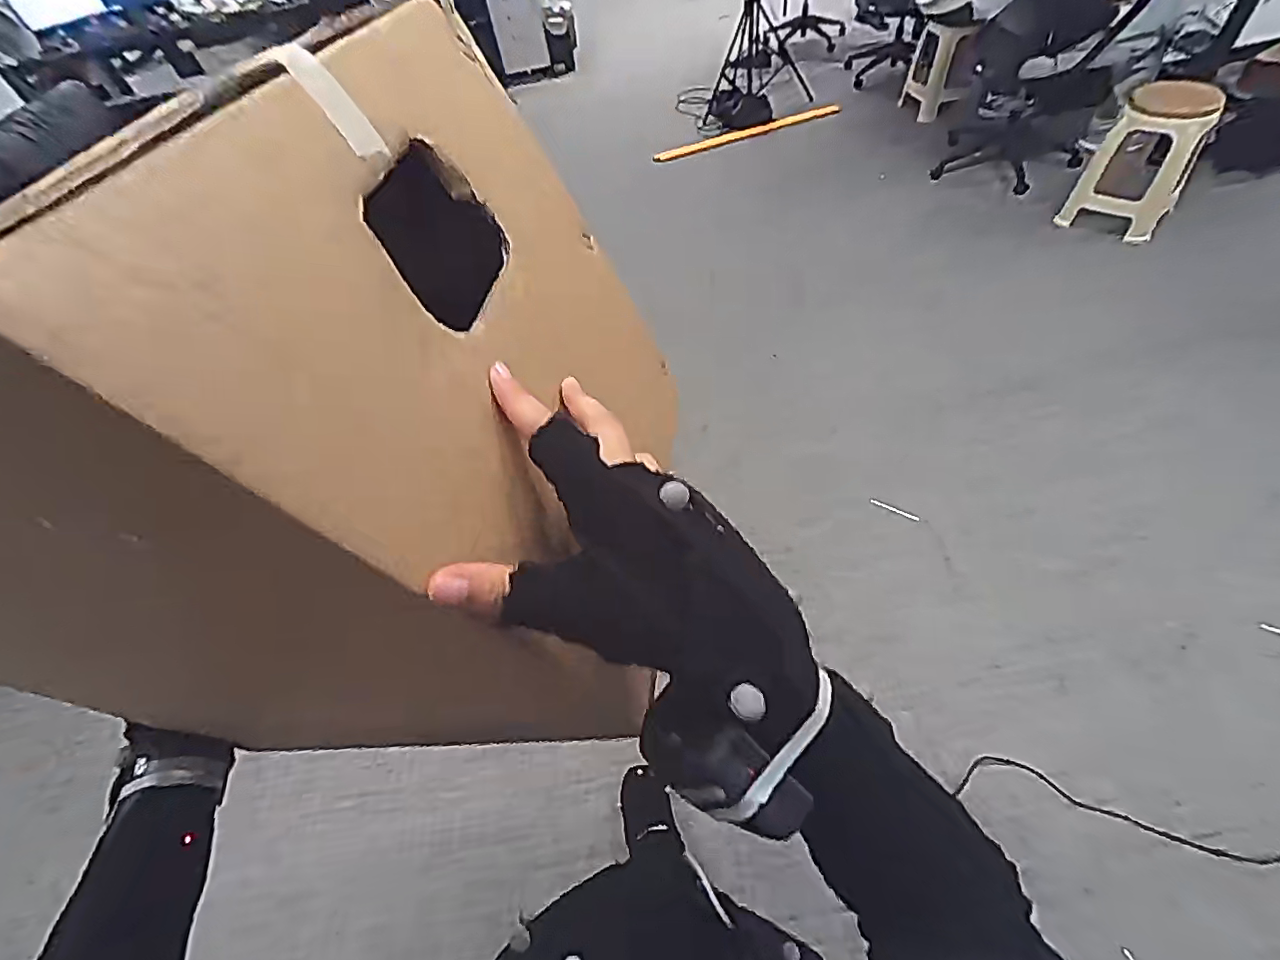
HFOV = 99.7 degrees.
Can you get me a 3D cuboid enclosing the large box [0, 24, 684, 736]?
[{"bbox_3d":[-0.216,-0.023,0.404,0.408,0.320,0.320,-15,46,25],"label":"large box"}]
